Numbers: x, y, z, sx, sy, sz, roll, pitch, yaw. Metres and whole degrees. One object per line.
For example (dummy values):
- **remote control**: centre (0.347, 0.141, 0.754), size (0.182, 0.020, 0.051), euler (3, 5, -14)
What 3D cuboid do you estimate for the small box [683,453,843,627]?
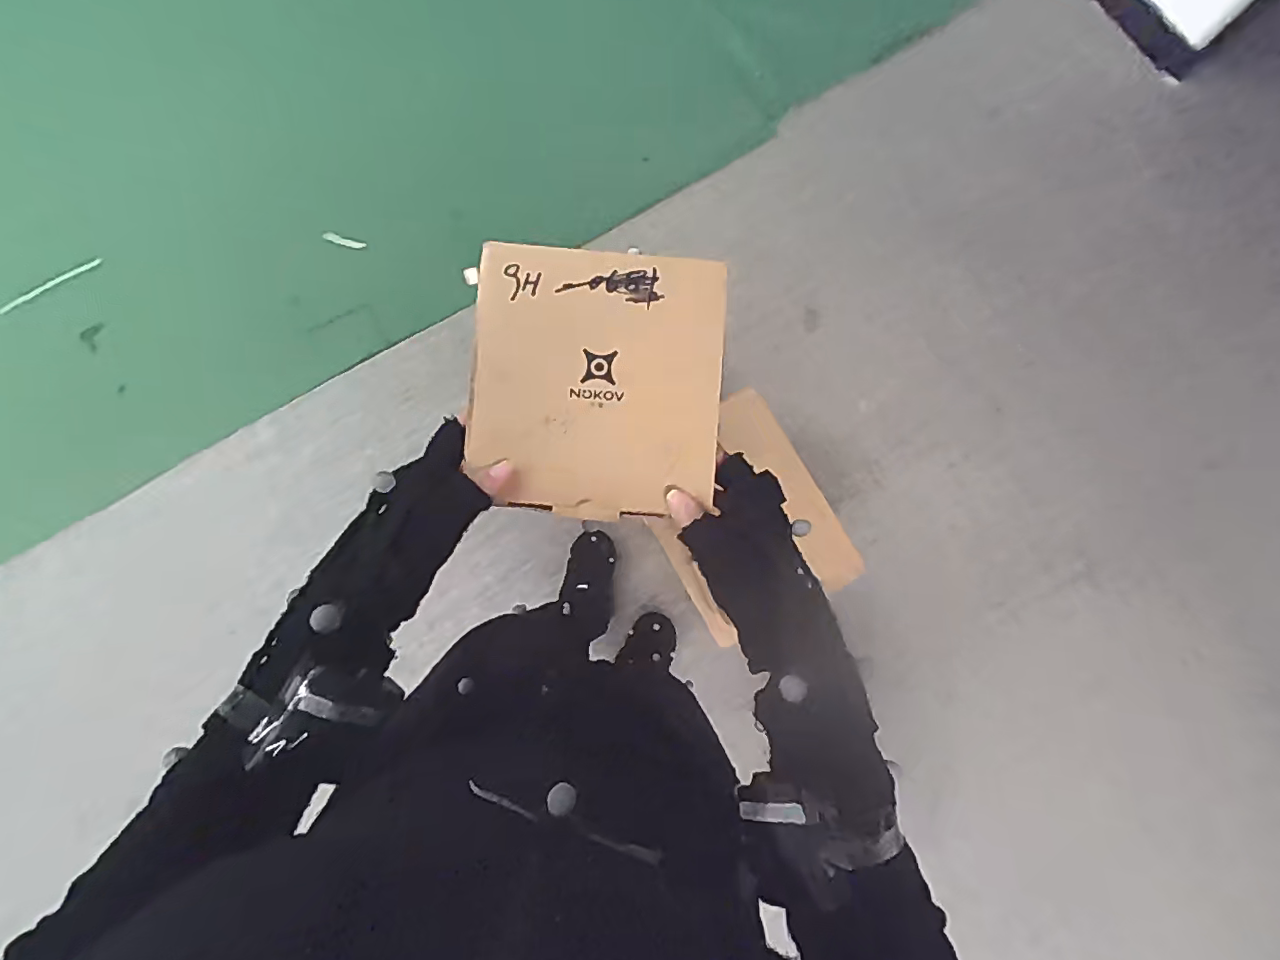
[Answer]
- **small box**: centre (0.153, 0.084, 0.759), size (0.168, 0.176, 0.179), euler (-24, 80, 1)

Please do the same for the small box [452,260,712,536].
- **small box**: centre (-0.040, -0.053, 0.437), size (0.168, 0.176, 0.179), euler (3, 89, -2)
